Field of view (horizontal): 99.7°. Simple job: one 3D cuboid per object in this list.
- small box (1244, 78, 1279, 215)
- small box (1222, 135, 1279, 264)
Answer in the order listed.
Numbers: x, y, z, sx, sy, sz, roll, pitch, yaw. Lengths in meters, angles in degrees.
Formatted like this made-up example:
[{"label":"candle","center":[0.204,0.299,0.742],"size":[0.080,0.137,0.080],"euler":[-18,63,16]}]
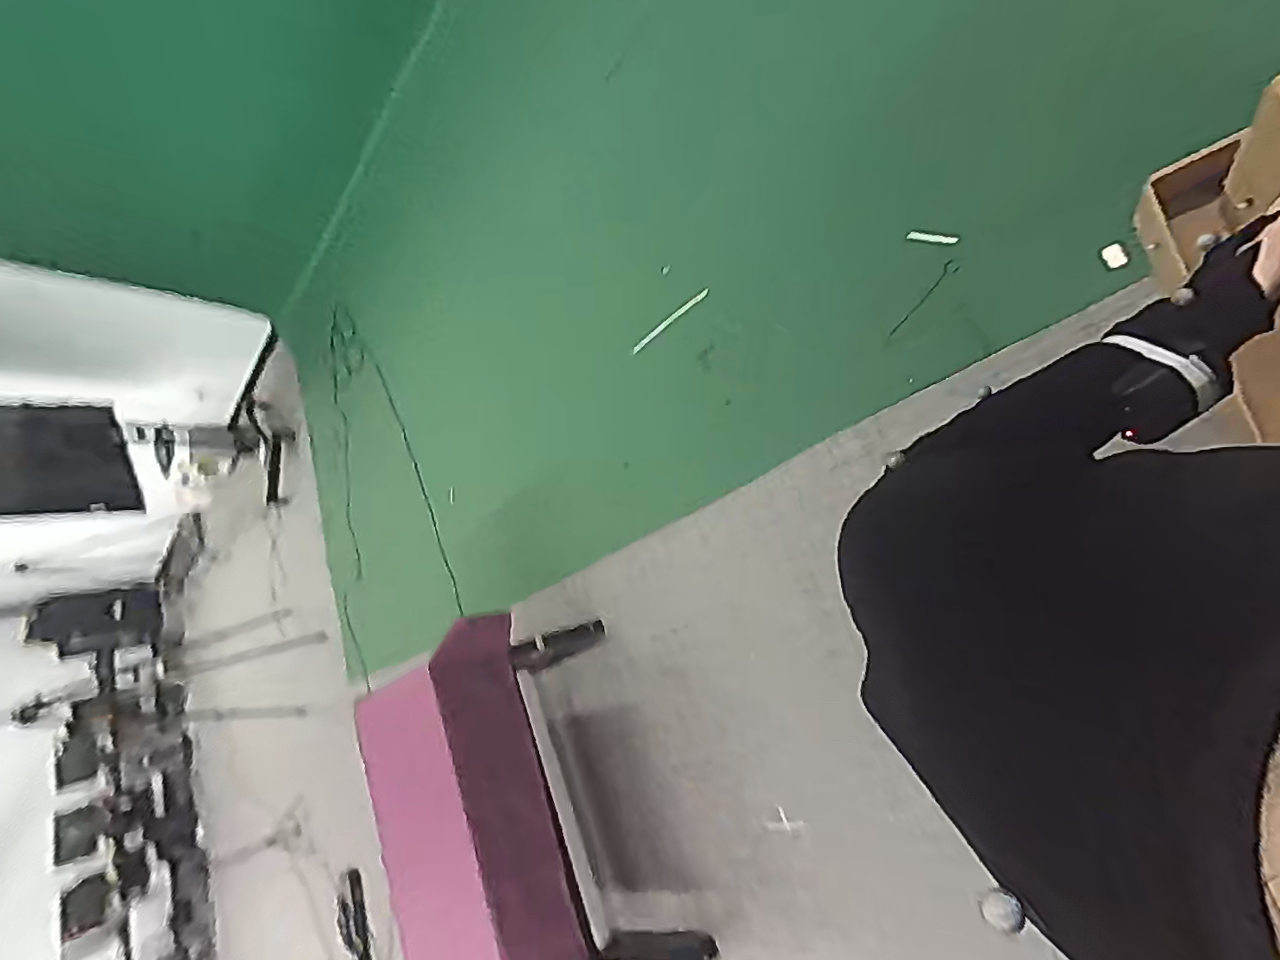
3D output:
[{"label":"small box","center":[0.896,-0.428,0.655],"size":[0.168,0.176,0.179],"euler":[-24,76,38]},{"label":"small box","center":[1.003,-0.446,0.780],"size":[0.179,0.176,0.168],"euler":[-23,77,39]}]
